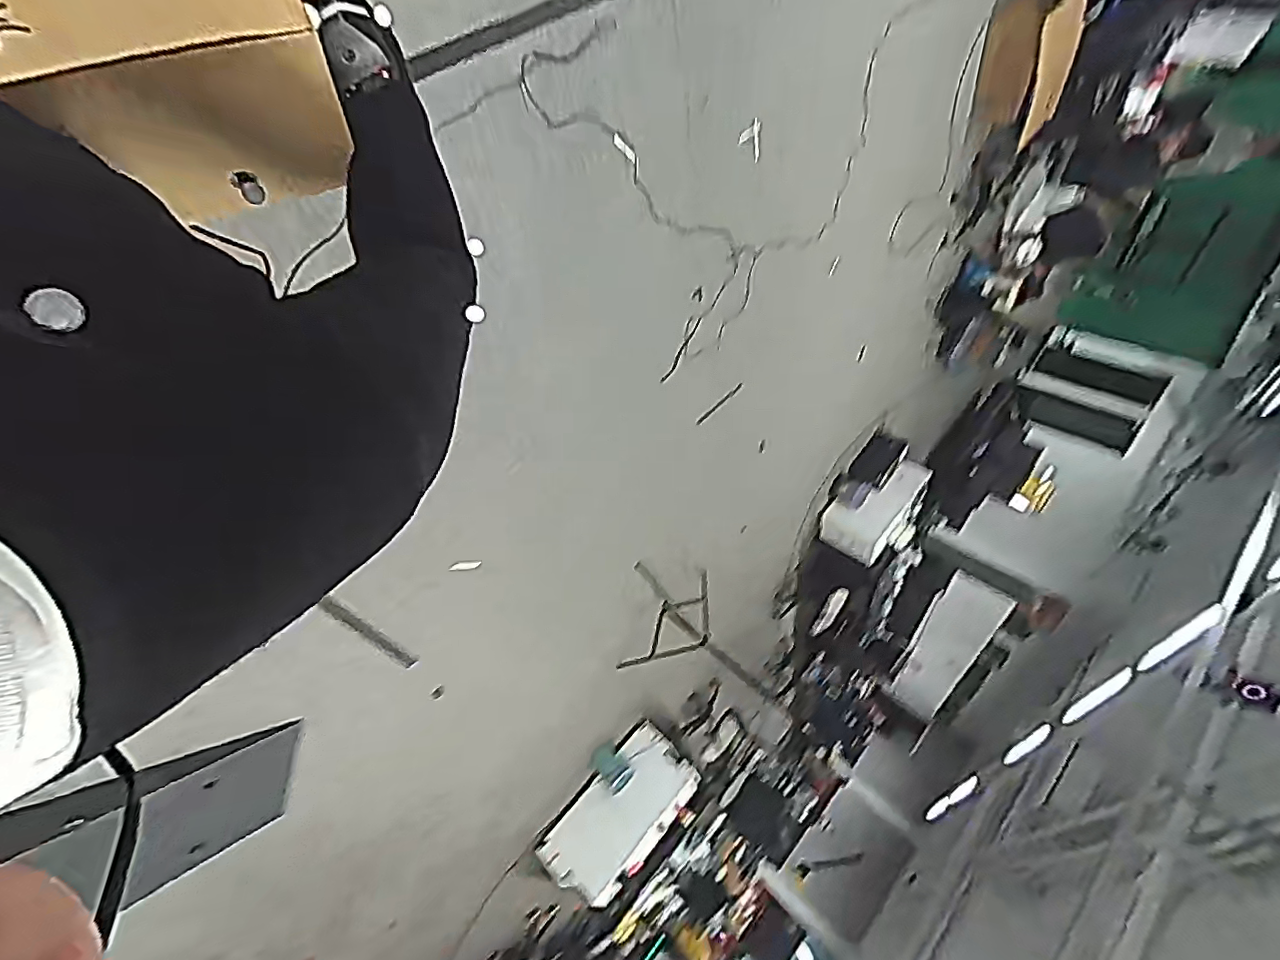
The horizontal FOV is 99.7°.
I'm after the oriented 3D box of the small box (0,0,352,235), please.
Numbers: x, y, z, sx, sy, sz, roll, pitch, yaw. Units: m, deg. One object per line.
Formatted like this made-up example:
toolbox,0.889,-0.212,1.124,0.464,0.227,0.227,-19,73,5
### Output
small box,-0.334,-0.311,0.393,0.179,0.176,0.168,-25,95,-16
